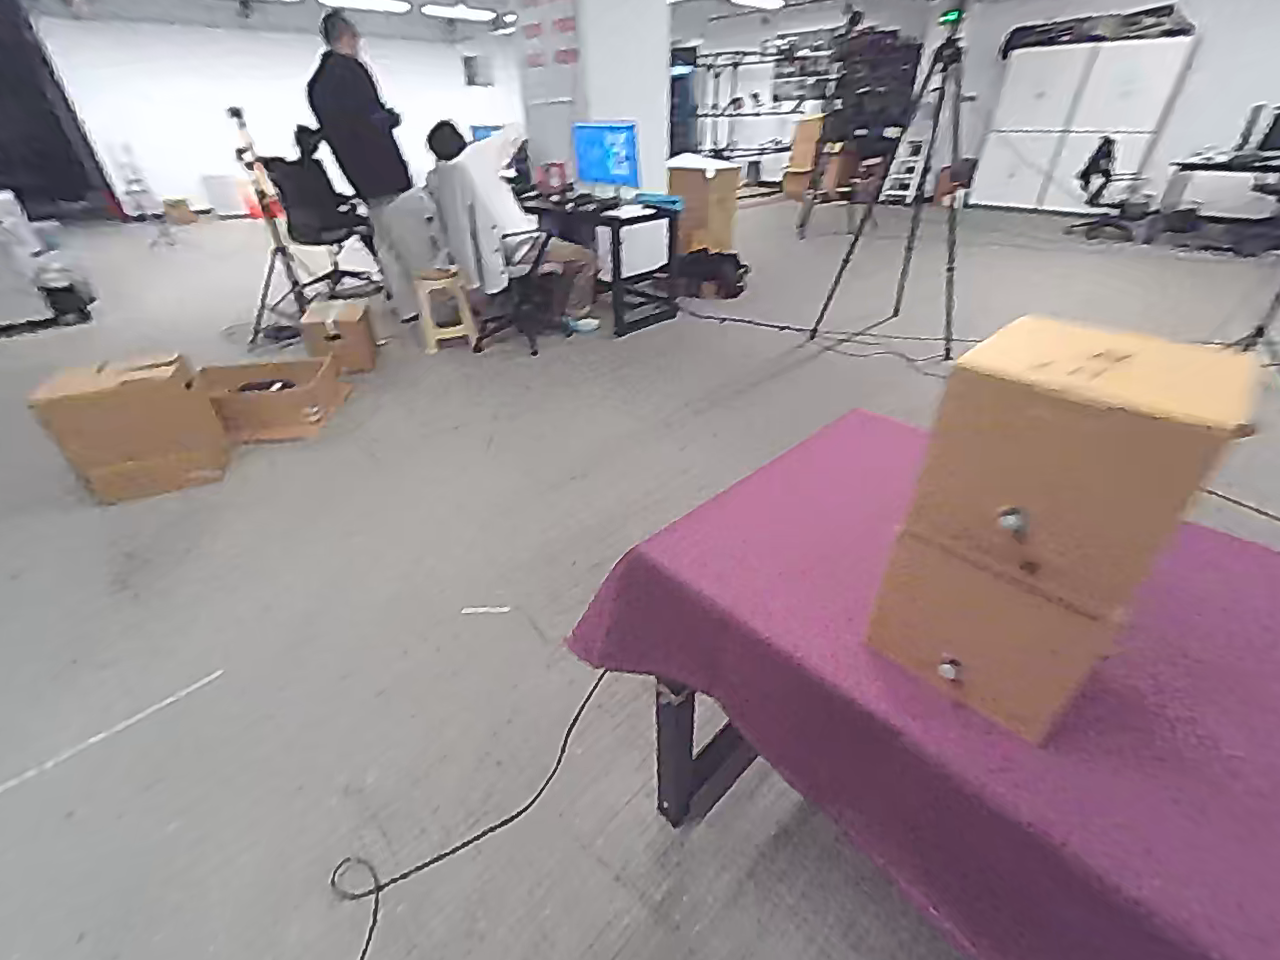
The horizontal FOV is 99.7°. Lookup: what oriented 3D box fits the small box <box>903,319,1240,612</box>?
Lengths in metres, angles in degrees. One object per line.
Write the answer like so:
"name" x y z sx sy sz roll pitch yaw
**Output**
"small box" 0.359 -0.023 0.473 0.179 0.176 0.168 -29 42 -34
